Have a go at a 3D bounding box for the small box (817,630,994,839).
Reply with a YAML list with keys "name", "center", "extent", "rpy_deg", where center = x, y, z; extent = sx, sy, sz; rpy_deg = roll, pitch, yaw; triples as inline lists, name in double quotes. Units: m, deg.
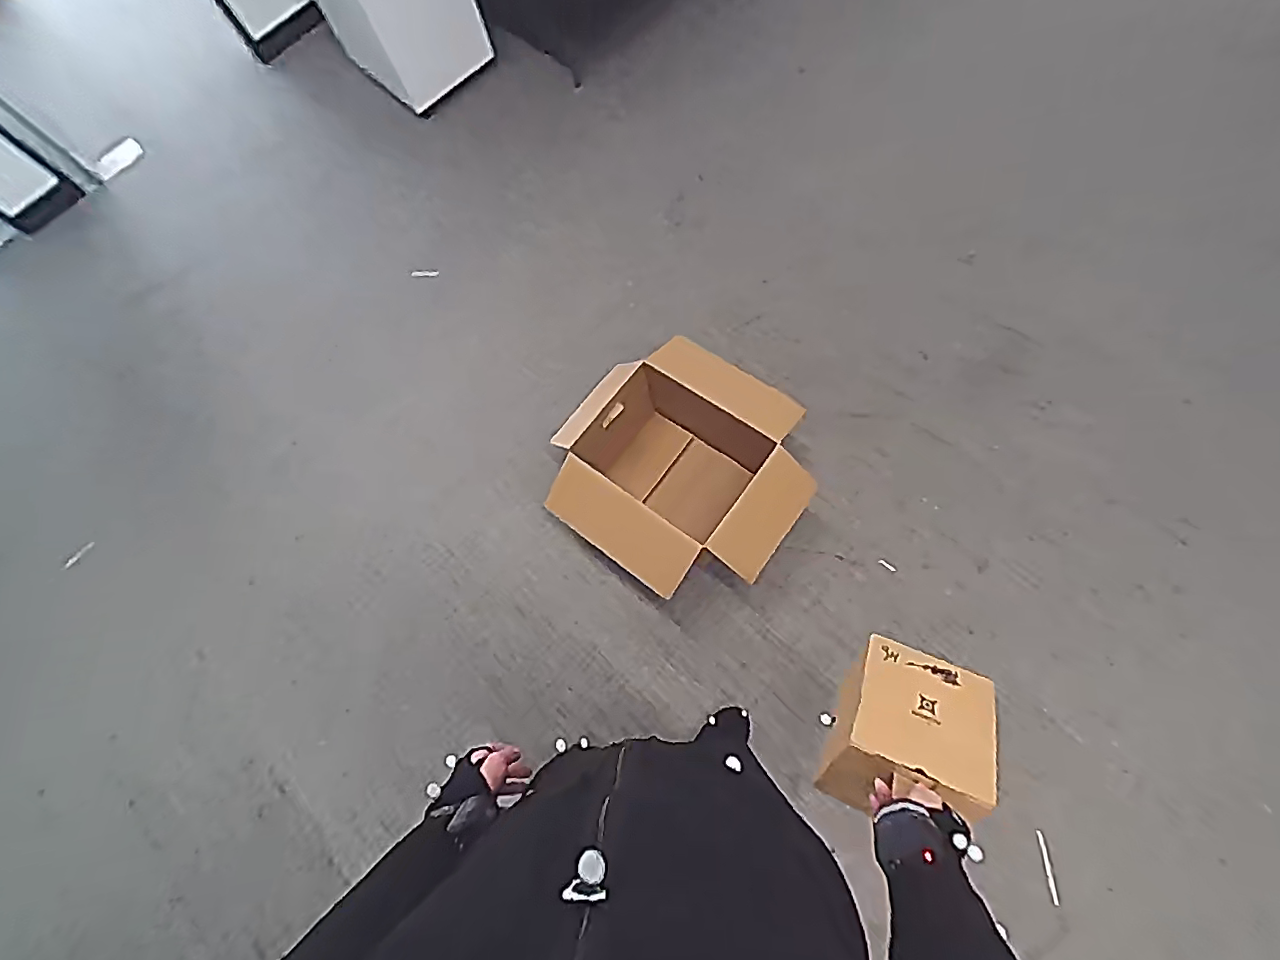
- name: "small box"
  center: [0.358, 0.351, 0.746]
  extent: [0.168, 0.176, 0.179]
  rpy_deg: [21, 45, 18]
